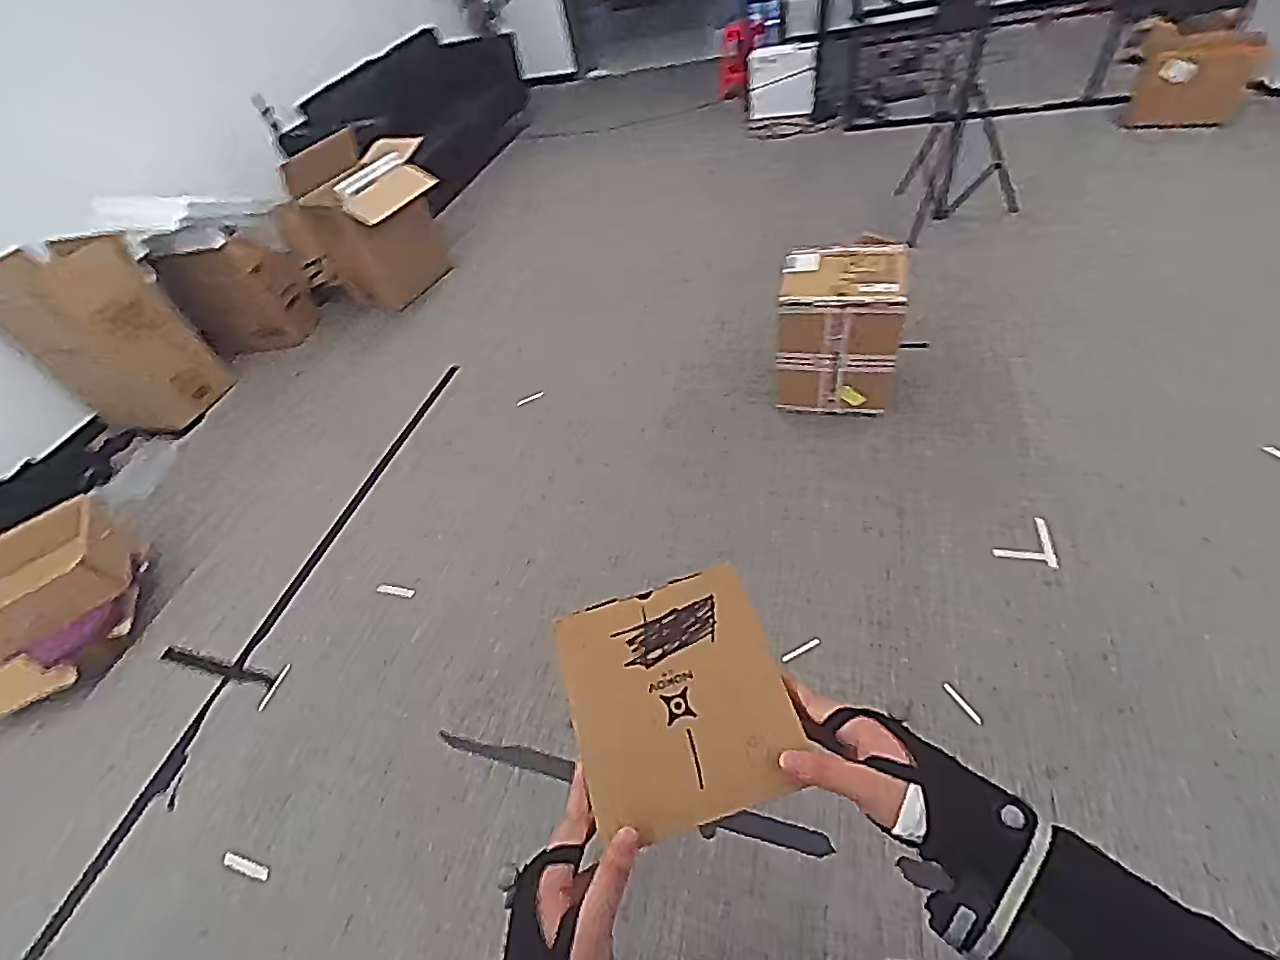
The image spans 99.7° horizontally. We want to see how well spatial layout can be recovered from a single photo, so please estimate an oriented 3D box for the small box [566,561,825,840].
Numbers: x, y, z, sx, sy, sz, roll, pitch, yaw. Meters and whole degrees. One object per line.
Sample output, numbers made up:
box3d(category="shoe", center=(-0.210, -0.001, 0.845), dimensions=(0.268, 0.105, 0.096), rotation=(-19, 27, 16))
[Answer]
box3d(category="small box", center=(0.040, 0.202, 0.496), dimensions=(0.168, 0.176, 0.179), rotation=(-16, 61, -4))
